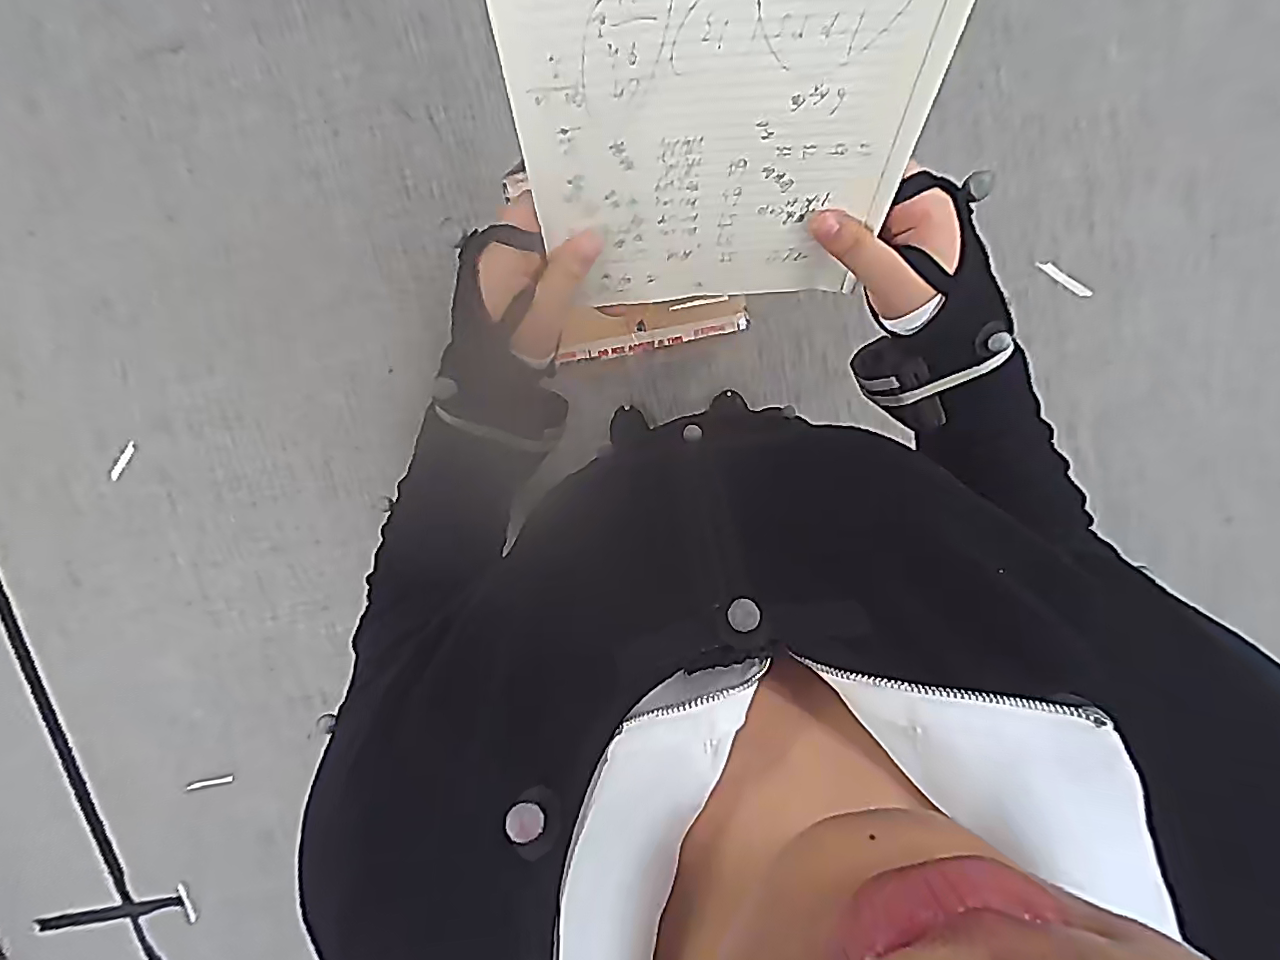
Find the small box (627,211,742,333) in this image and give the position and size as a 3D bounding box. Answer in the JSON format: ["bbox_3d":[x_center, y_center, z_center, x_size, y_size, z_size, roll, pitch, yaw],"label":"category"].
[{"bbox_3d":[0.081,-0.347,0.879,0.179,0.176,0.168,-15,99,3],"label":"small box"}]

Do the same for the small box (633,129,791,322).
[{"bbox_3d":[0.085,-0.321,0.717,0.168,0.176,0.179,-11,100,1],"label":"small box"}]
